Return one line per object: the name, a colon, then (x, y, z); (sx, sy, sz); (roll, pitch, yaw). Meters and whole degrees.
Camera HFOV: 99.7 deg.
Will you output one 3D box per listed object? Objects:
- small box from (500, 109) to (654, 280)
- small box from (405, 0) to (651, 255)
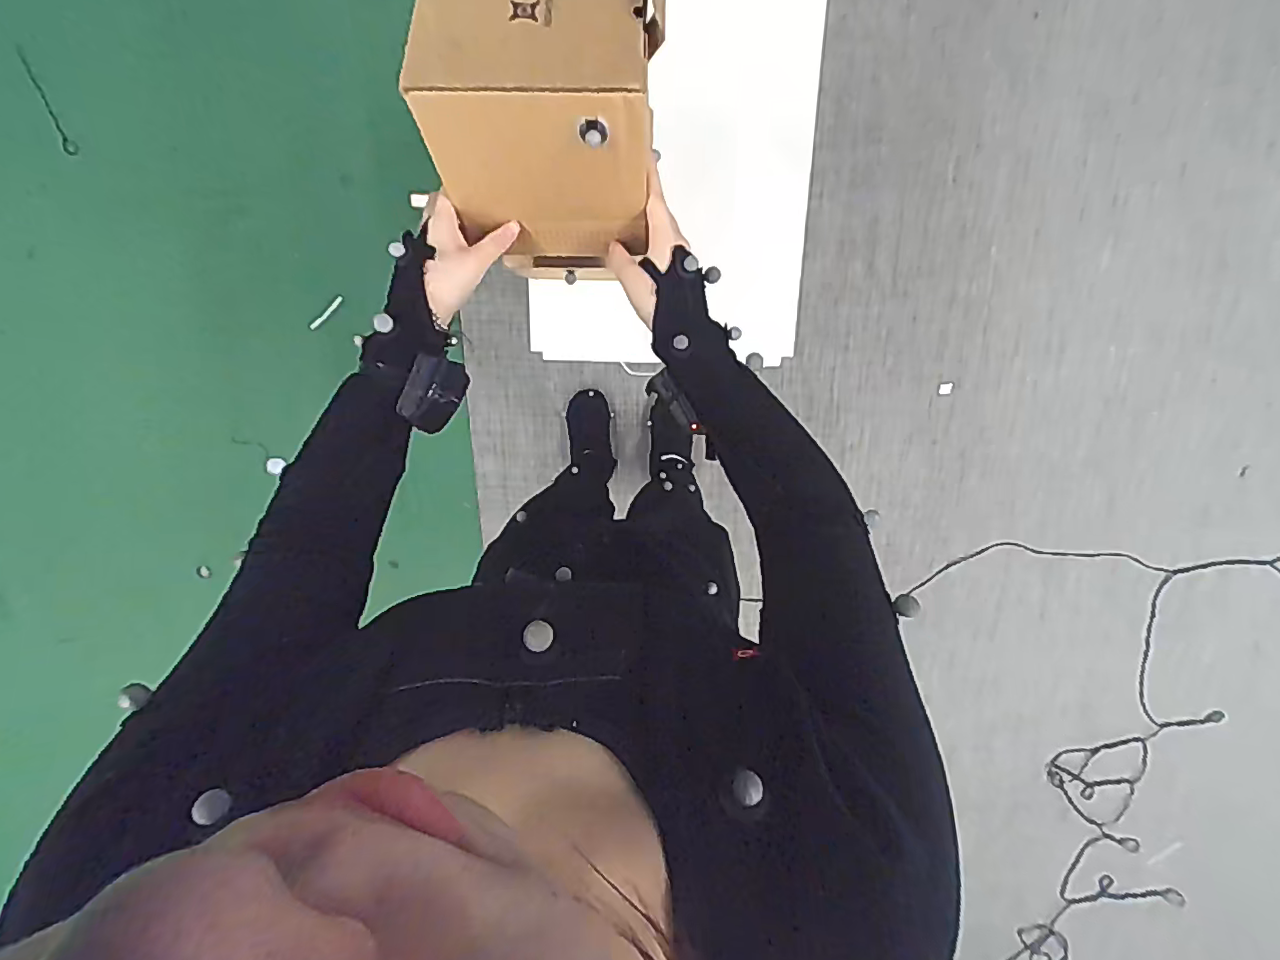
small box: (-0.072, -0.347, 0.683); (0.179, 0.176, 0.168); (1, 106, 0)
small box: (-0.079, -0.324, 0.482); (0.179, 0.176, 0.168); (1, 71, 0)
